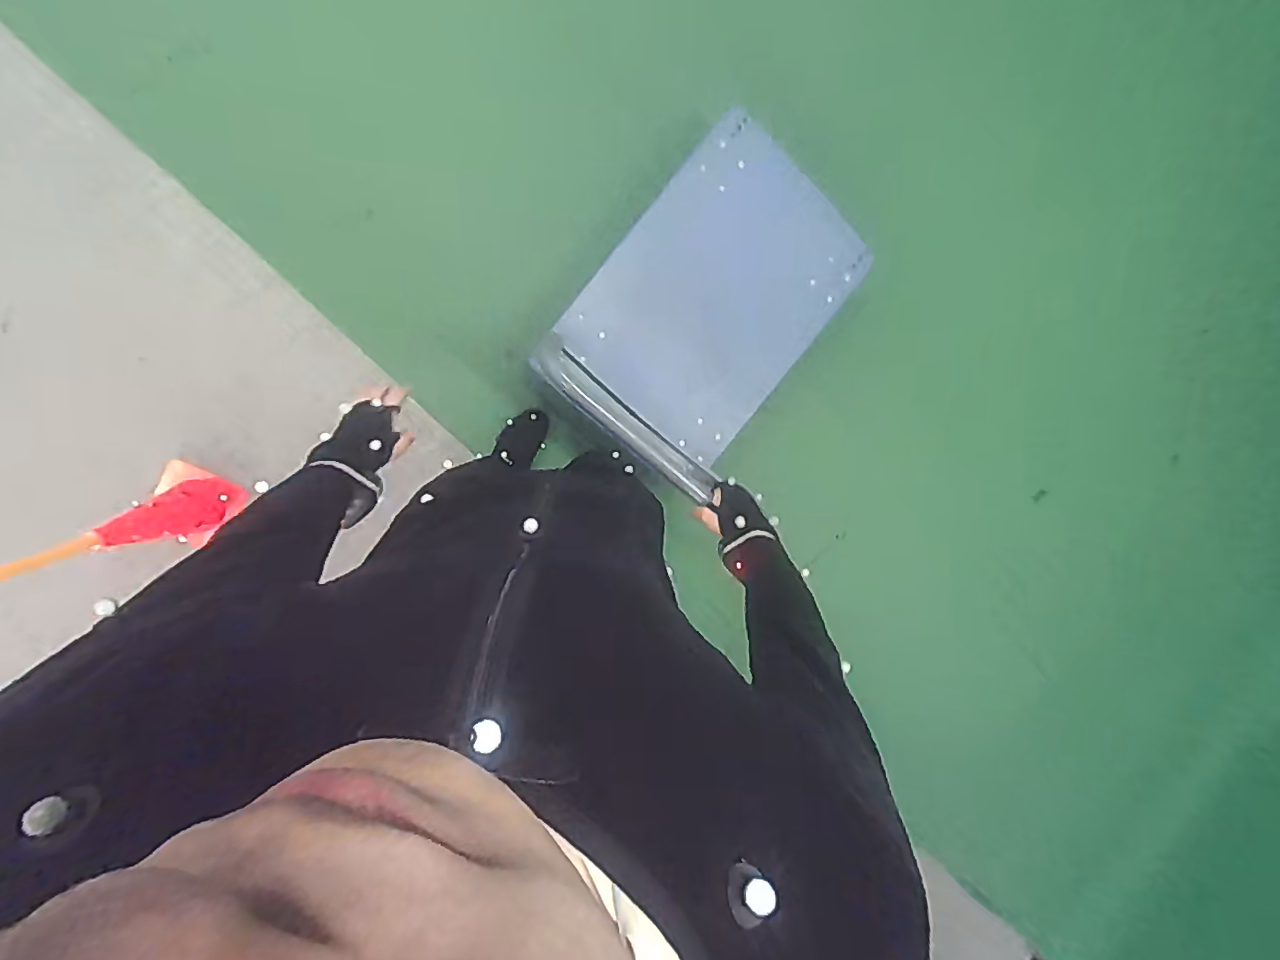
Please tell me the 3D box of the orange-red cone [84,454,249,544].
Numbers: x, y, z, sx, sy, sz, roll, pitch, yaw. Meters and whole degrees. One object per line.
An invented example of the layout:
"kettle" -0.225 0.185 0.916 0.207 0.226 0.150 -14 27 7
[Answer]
"orange-red cone" -1.151 0.078 1.277 0.199 0.360 0.198 30 92 -13
